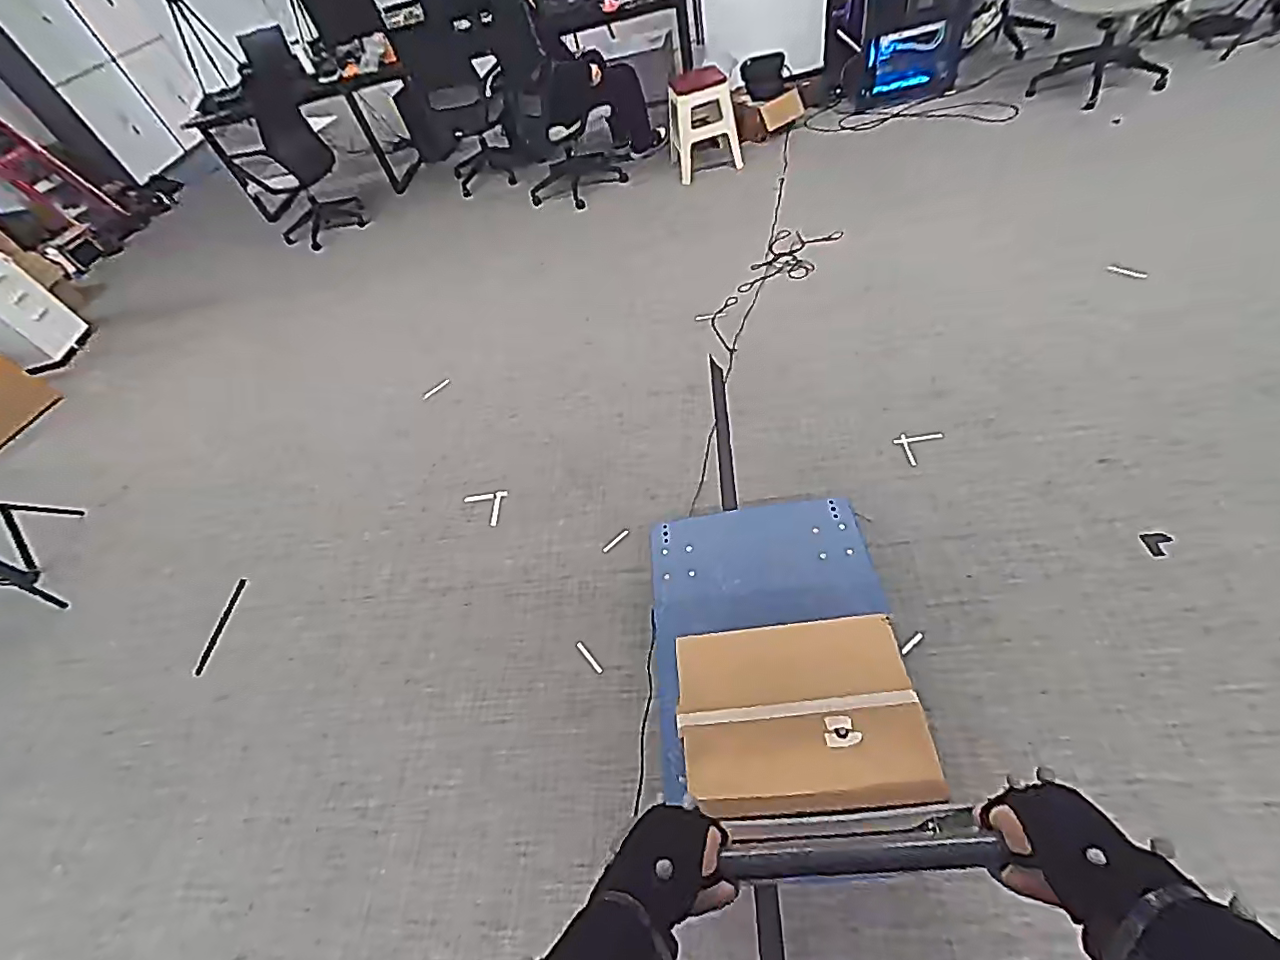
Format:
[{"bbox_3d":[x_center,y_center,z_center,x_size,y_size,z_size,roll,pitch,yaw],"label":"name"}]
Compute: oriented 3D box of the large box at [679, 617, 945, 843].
[{"bbox_3d":[0.305,0.505,1.073,0.408,0.320,0.320,-9,50,7],"label":"large box"}]
